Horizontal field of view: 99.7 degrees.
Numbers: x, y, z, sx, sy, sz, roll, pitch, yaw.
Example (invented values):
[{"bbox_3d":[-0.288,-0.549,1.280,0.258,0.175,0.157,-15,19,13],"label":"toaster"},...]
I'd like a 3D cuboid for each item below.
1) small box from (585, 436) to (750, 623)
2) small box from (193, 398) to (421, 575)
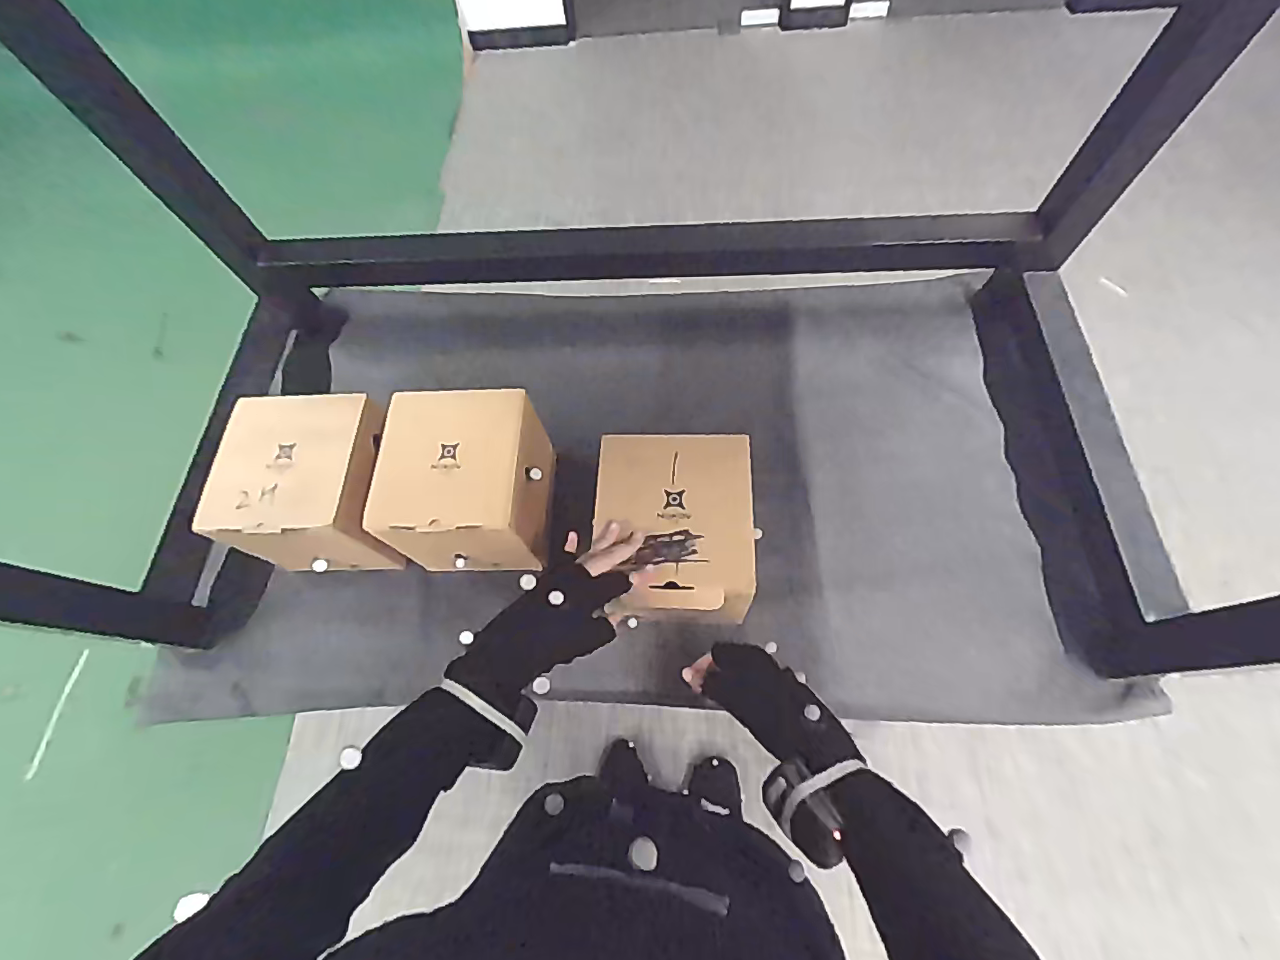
[{"bbox_3d":[0.038,0.065,0.632,0.168,0.176,0.179,0,64,5],"label":"small box"},{"bbox_3d":[-0.404,0.014,0.695,0.168,0.176,0.179,-2,65,4],"label":"small box"}]
